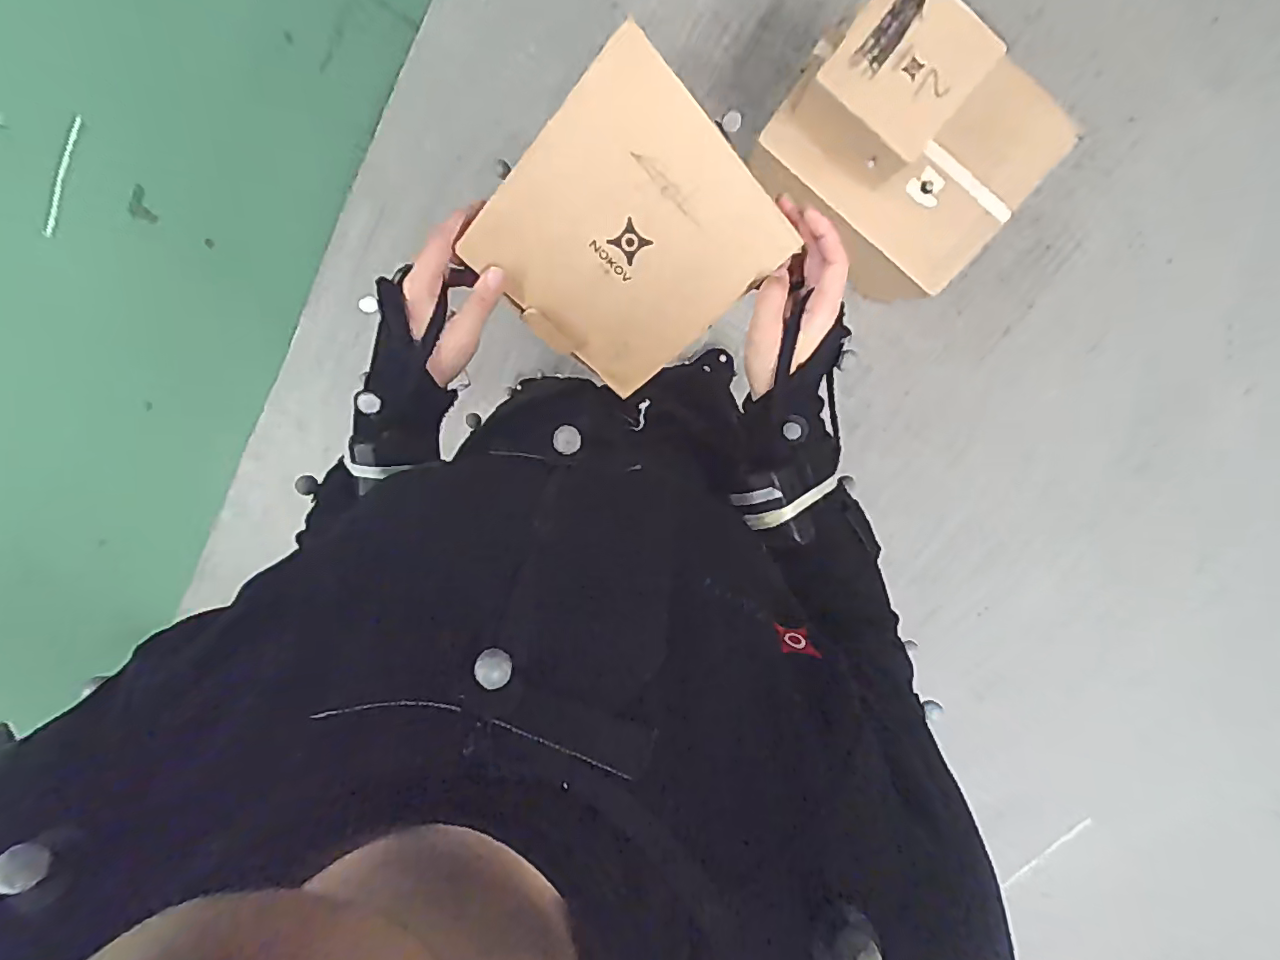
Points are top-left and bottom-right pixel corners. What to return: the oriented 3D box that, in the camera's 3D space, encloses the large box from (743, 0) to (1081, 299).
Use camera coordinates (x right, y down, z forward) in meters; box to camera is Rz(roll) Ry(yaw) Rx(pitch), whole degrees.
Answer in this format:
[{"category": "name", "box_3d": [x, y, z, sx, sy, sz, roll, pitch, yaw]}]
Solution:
[{"category": "large box", "box_3d": [0.453, -0.590, 1.003, 0.408, 0.320, 0.320, 38, 107, -7]}]
